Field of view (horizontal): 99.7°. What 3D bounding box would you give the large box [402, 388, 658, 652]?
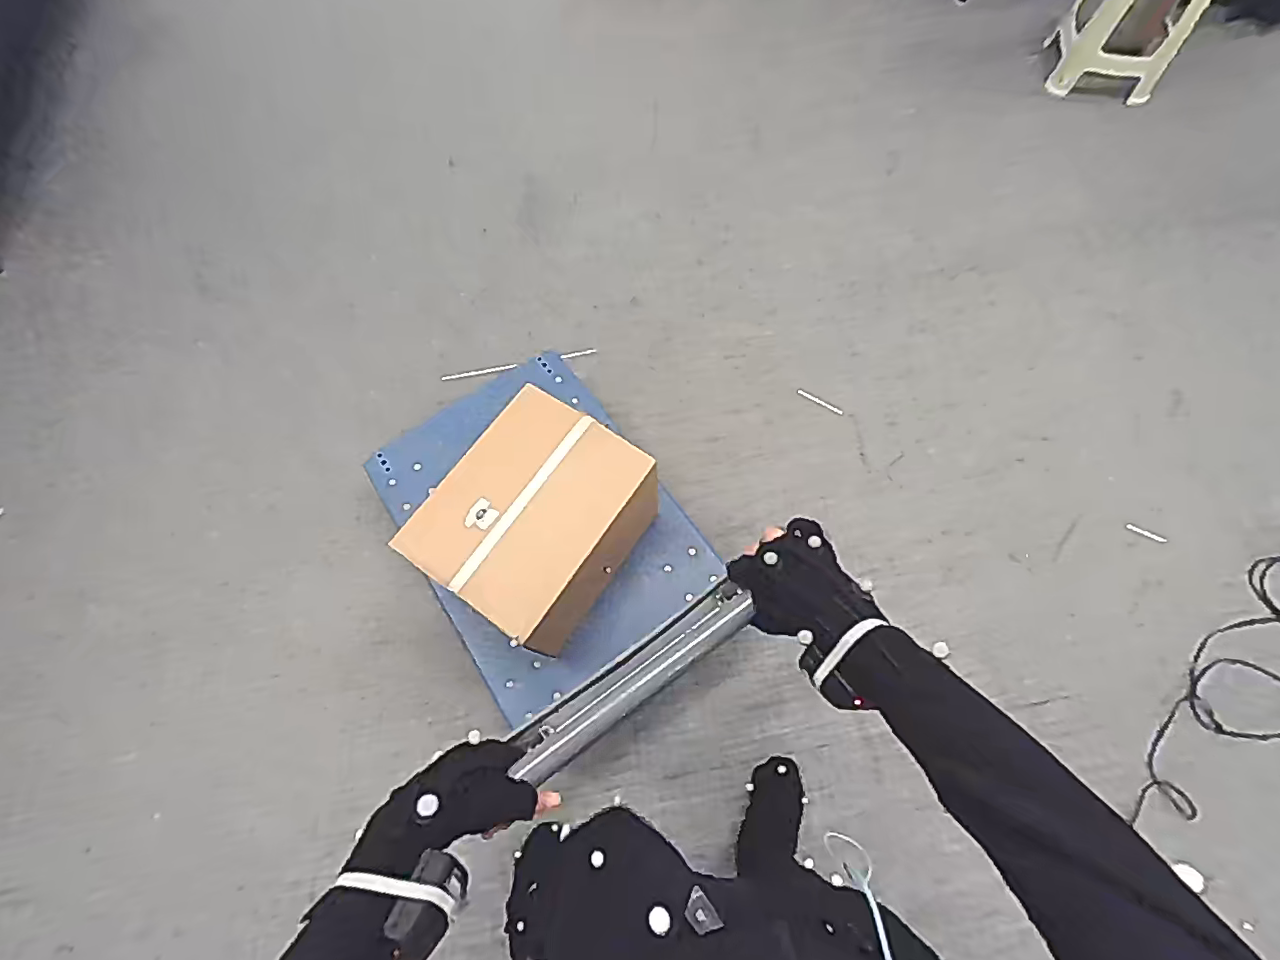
[{"bbox_3d":[-0.192,0.096,1.130,0.320,0.320,0.408,31,74,14],"label":"large box"}]
